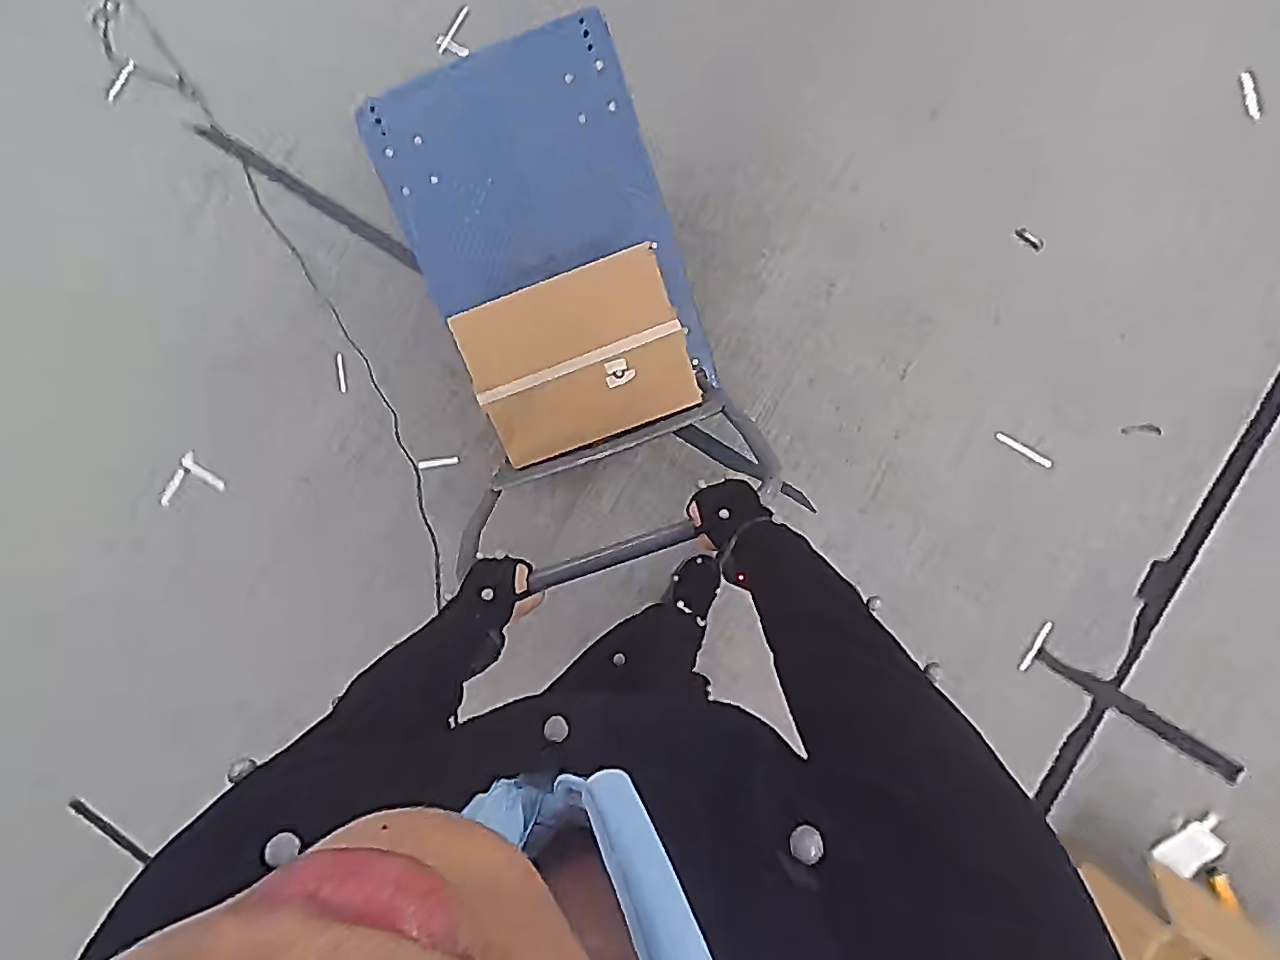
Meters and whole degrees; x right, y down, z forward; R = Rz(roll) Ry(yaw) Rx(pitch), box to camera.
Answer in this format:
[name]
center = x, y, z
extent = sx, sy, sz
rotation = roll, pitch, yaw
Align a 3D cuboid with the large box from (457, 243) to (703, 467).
[large box]
center = -0.118, -0.271, 1.189
extent = 0.408, 0.320, 0.320
rotation = -21, 107, 3
